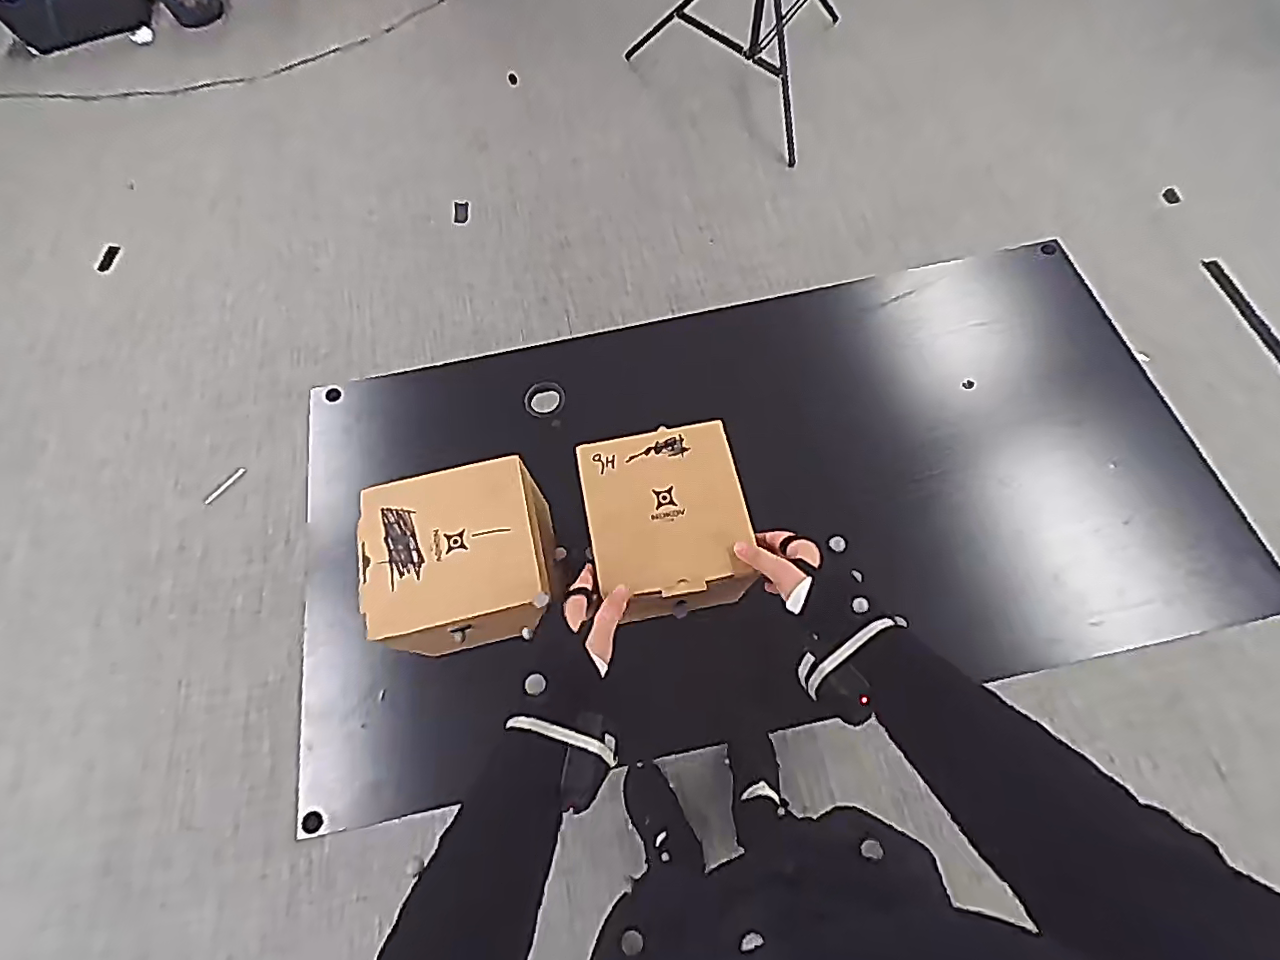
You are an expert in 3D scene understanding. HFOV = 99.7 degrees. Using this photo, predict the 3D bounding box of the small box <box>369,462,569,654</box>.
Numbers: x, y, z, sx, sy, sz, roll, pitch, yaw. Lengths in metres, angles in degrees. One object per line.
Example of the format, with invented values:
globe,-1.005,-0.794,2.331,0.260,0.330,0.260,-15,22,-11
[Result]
small box,-0.194,0.102,0.644,0.179,0.176,0.168,-13,68,-4
